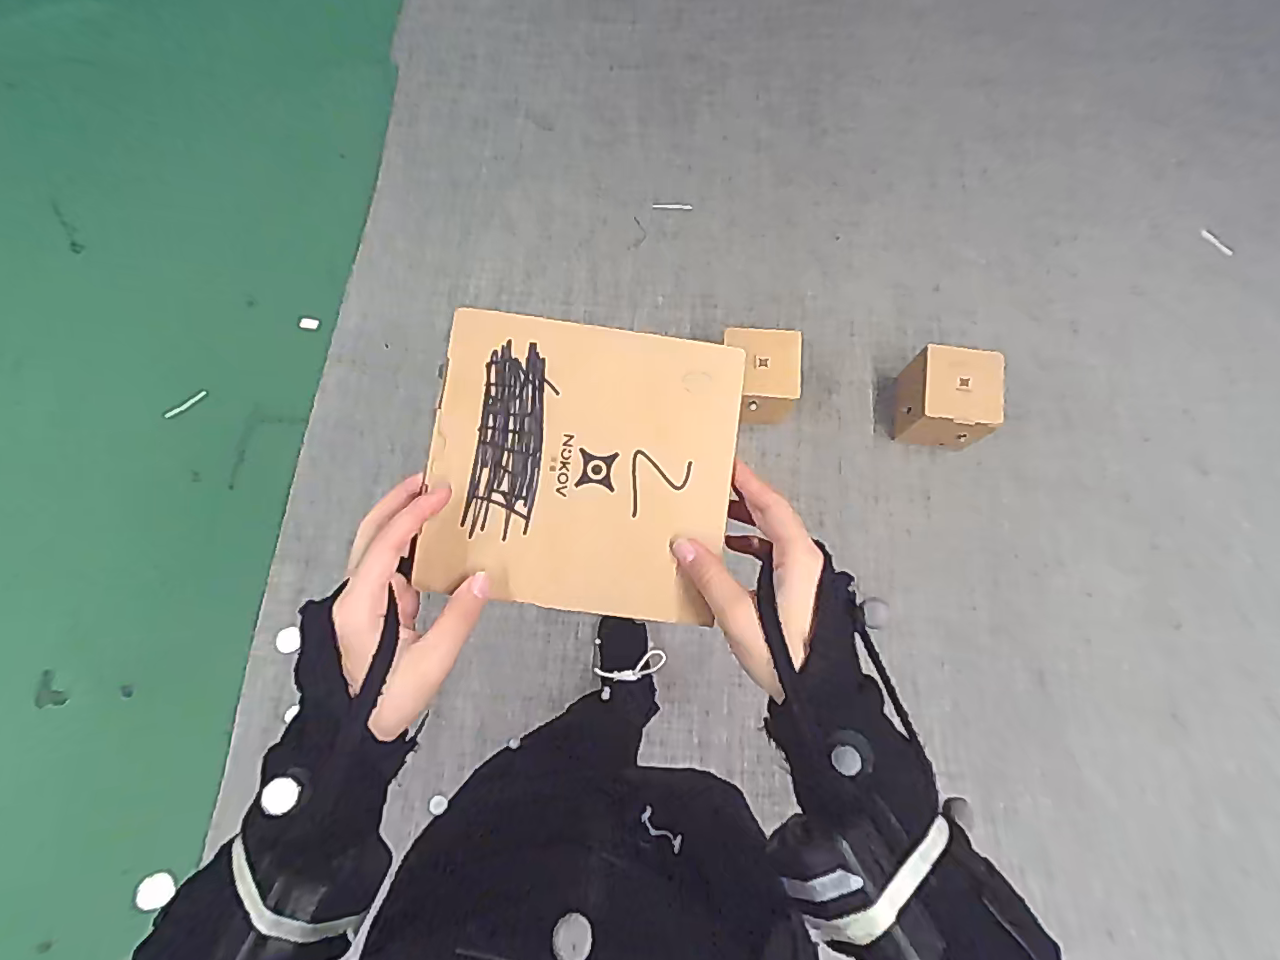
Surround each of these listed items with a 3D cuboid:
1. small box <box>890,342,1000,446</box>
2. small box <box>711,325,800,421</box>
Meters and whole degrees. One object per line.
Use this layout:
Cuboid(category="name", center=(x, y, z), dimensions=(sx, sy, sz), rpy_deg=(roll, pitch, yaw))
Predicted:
Cuboid(category="small box", center=(0.693, -0.189, 1.242), dimensions=(0.168, 0.176, 0.179), rpy_deg=(9, 75, 3))
Cuboid(category="small box", center=(0.267, -0.245, 1.272), dimensions=(0.179, 0.176, 0.168), rpy_deg=(4, 76, 4))
